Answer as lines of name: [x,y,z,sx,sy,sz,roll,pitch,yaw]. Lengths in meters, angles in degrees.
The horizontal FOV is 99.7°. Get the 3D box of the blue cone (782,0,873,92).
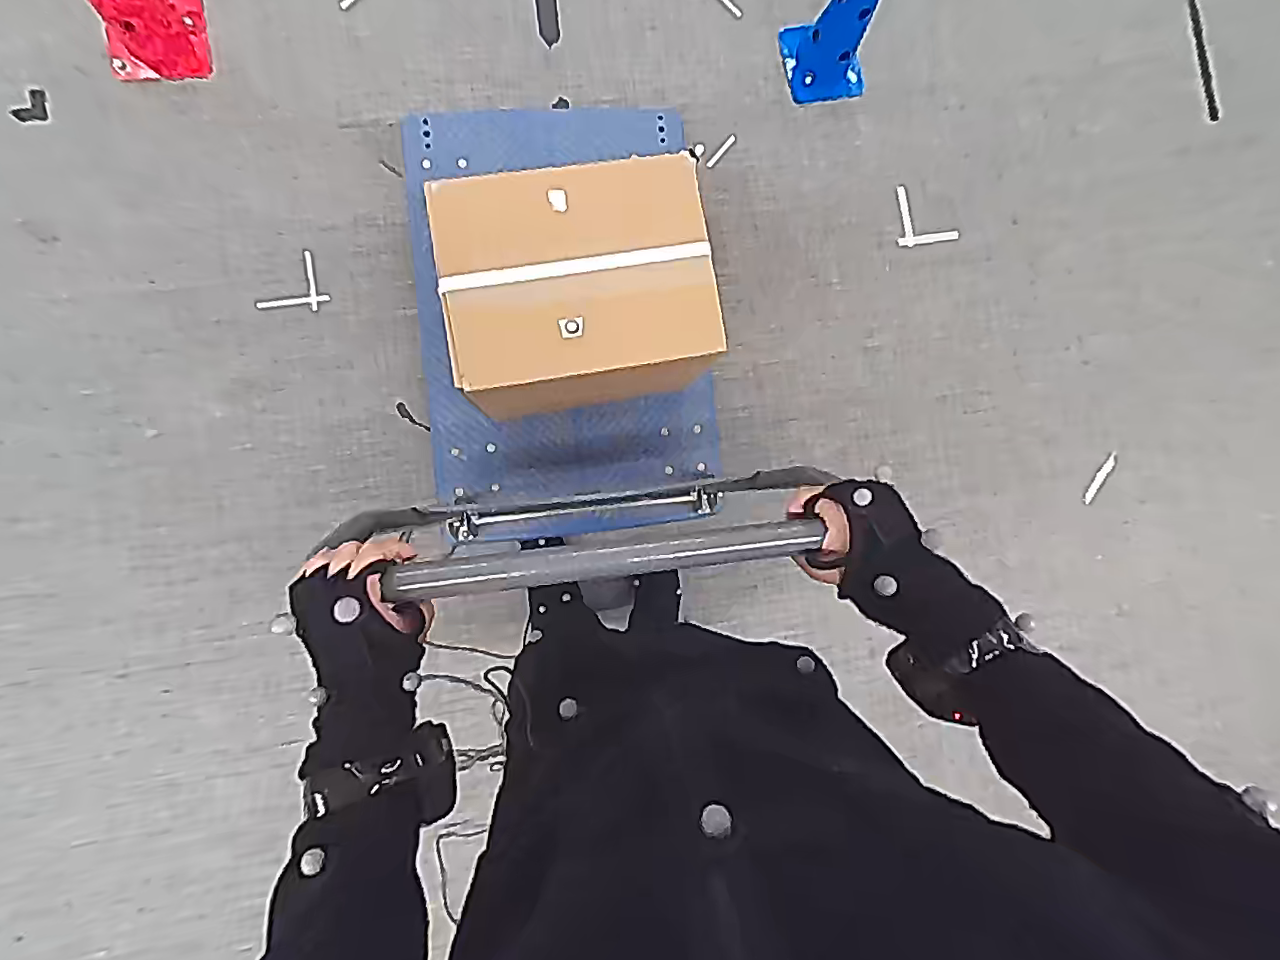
blue cone: [0.485,-1.091,1.214,0.193,0.380,0.192,-12,89,-8]
